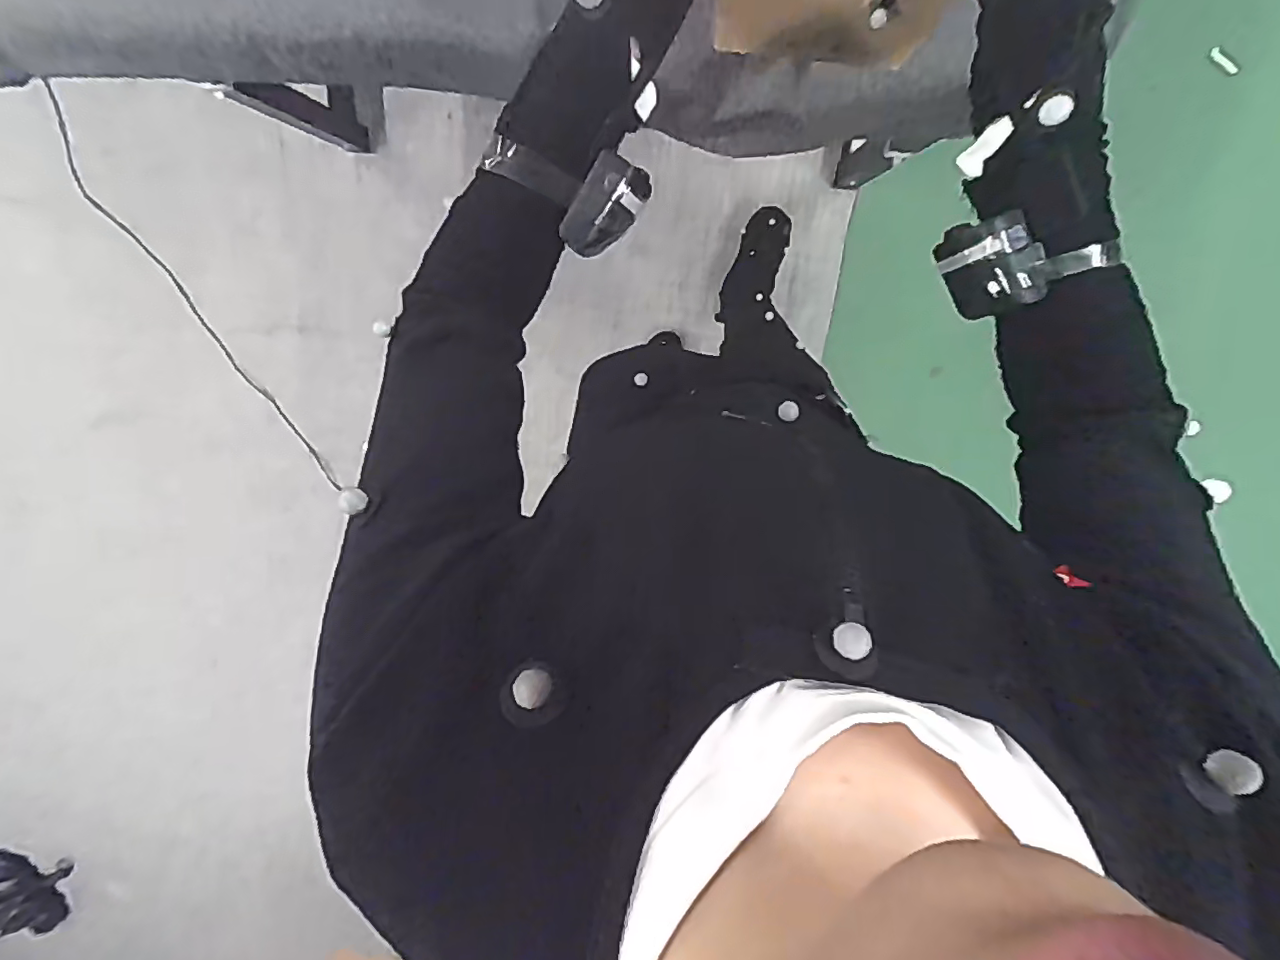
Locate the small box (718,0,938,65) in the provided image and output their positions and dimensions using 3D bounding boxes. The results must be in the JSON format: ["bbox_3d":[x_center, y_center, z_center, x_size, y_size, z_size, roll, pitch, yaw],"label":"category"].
[{"bbox_3d":[0.152,-0.439,0.384,0.168,0.176,0.179,7,102,1],"label":"small box"}]
